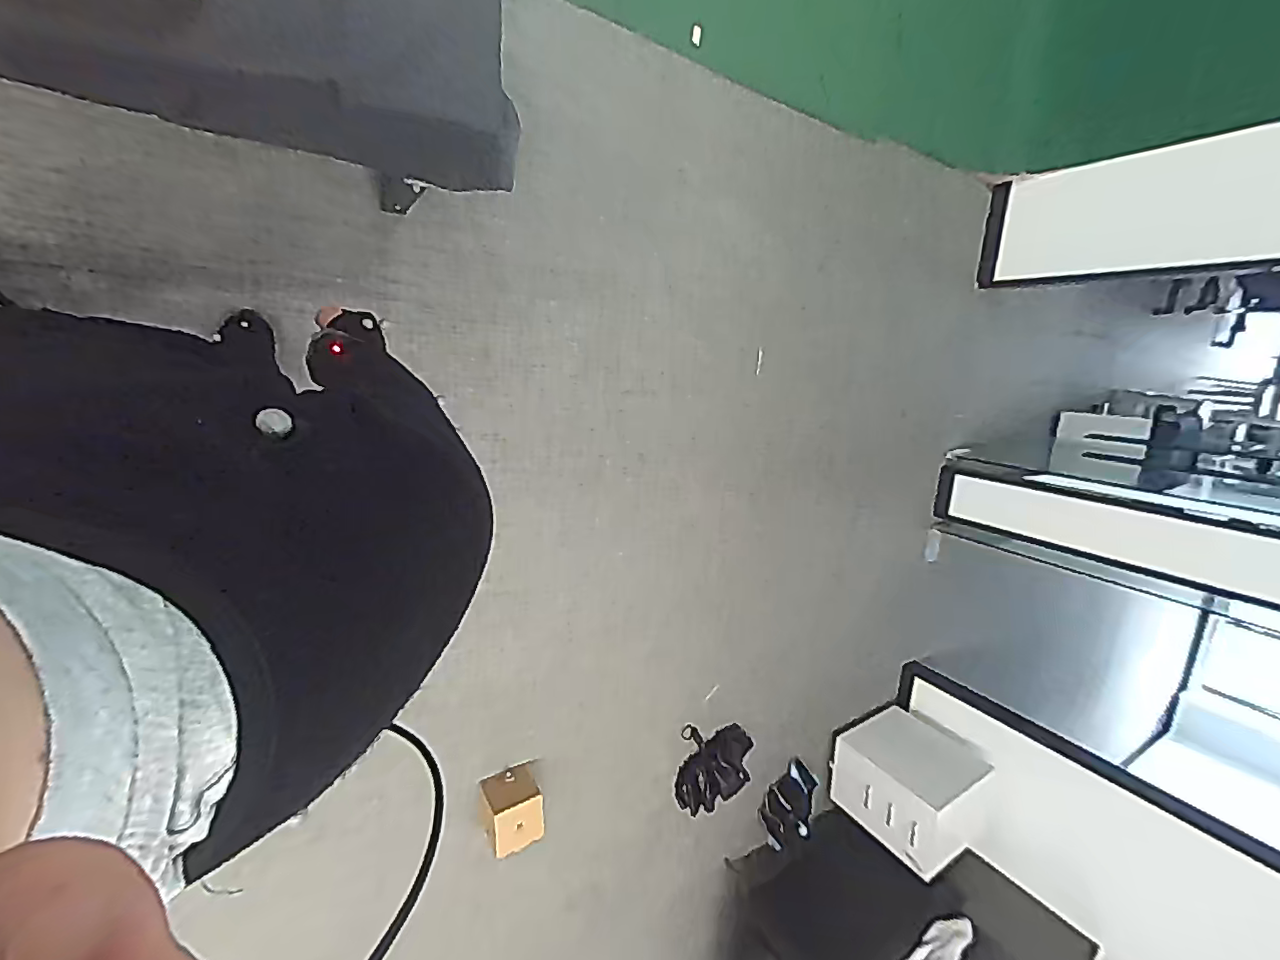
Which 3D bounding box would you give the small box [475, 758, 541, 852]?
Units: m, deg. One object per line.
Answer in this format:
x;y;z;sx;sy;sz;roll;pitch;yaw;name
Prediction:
-0.447;1.091;1.828;0.168;0.176;0.179;-11;107;-33;small box
